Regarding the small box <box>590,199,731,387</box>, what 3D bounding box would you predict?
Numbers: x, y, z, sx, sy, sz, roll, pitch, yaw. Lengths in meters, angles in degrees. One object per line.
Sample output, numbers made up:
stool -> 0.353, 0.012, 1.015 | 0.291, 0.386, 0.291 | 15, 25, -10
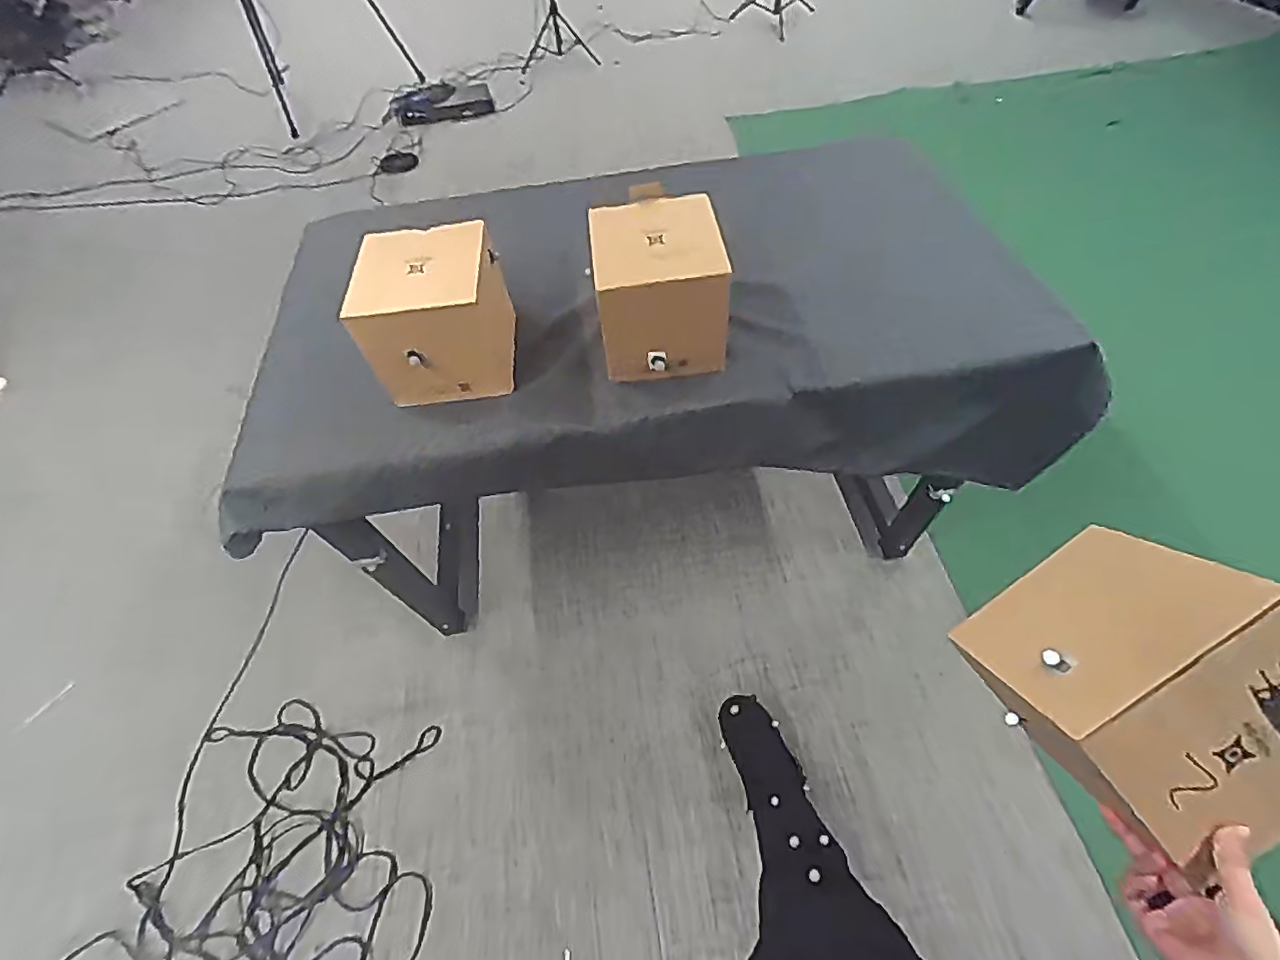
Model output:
small box -> 0.025, -0.256, 0.751 | 0.168, 0.176, 0.179 | -8, 57, 0

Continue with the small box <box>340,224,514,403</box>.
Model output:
small box -> -0.278, -0.222, 0.752 | 0.168, 0.176, 0.179 | -7, 55, 0
